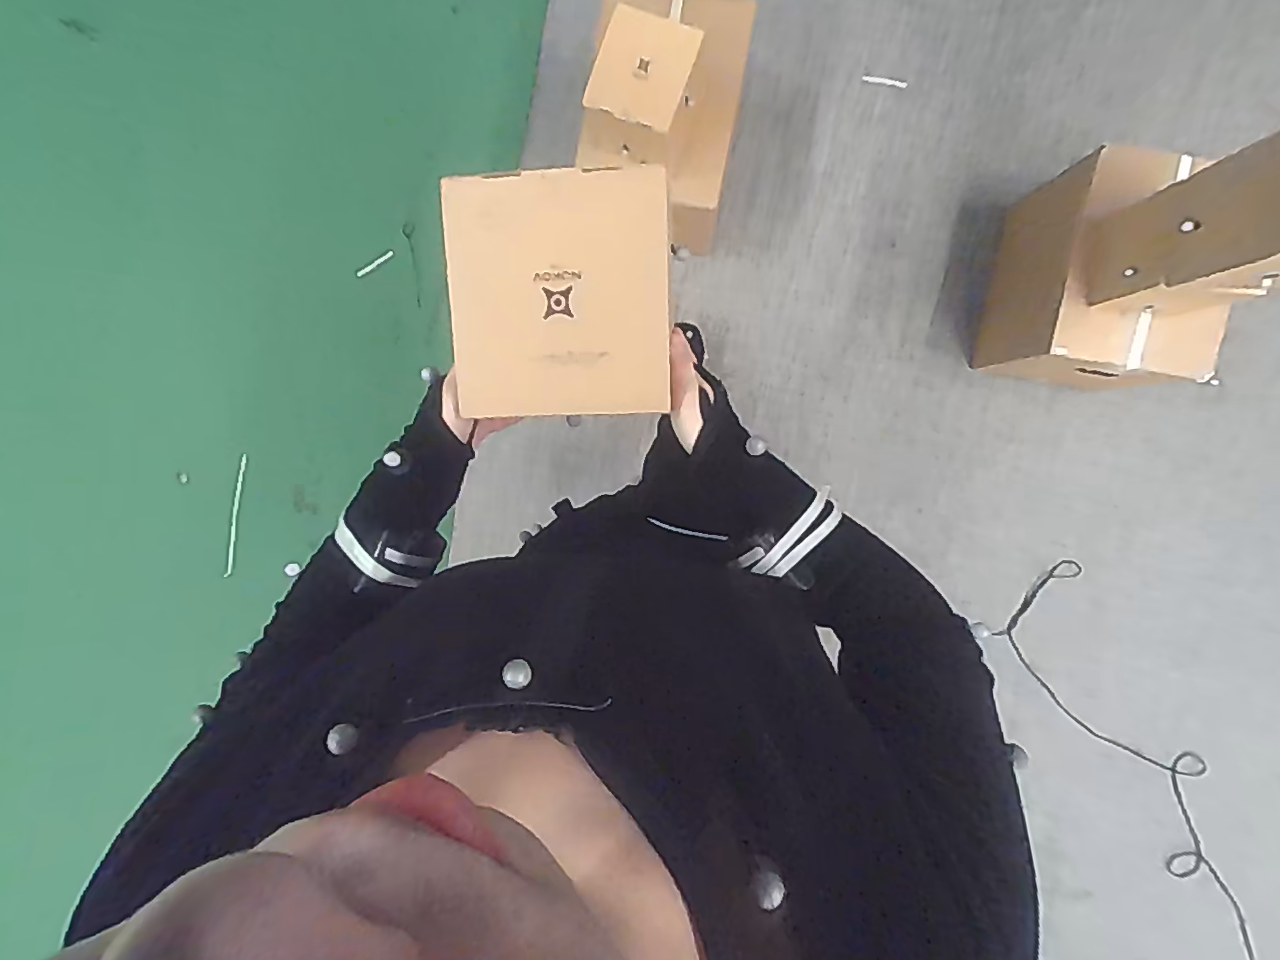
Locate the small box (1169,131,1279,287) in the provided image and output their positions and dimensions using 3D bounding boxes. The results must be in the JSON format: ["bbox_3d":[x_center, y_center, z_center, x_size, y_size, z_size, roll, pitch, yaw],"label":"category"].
[{"bbox_3d":[0.953,-0.394,0.805,0.168,0.176,0.179,3,97,6],"label":"small box"}]

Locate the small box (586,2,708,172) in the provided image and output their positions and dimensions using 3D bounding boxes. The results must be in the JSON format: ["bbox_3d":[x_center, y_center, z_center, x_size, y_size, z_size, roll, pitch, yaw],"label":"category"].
[{"bbox_3d":[0.017,-0.722,1.014,0.168,0.176,0.179,22,98,4],"label":"small box"}]

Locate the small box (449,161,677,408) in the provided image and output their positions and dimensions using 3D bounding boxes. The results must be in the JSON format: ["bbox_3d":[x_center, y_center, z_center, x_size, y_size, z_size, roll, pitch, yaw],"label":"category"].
[{"bbox_3d":[-0.053,-0.155,0.482,0.168,0.176,0.179,0,101,5],"label":"small box"}]

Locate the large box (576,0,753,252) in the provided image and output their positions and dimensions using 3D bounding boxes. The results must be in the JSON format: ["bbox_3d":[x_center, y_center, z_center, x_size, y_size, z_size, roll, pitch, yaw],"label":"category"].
[{"bbox_3d":[0.058,-0.795,1.251,0.320,0.320,0.408,11,96,4],"label":"large box"}]
